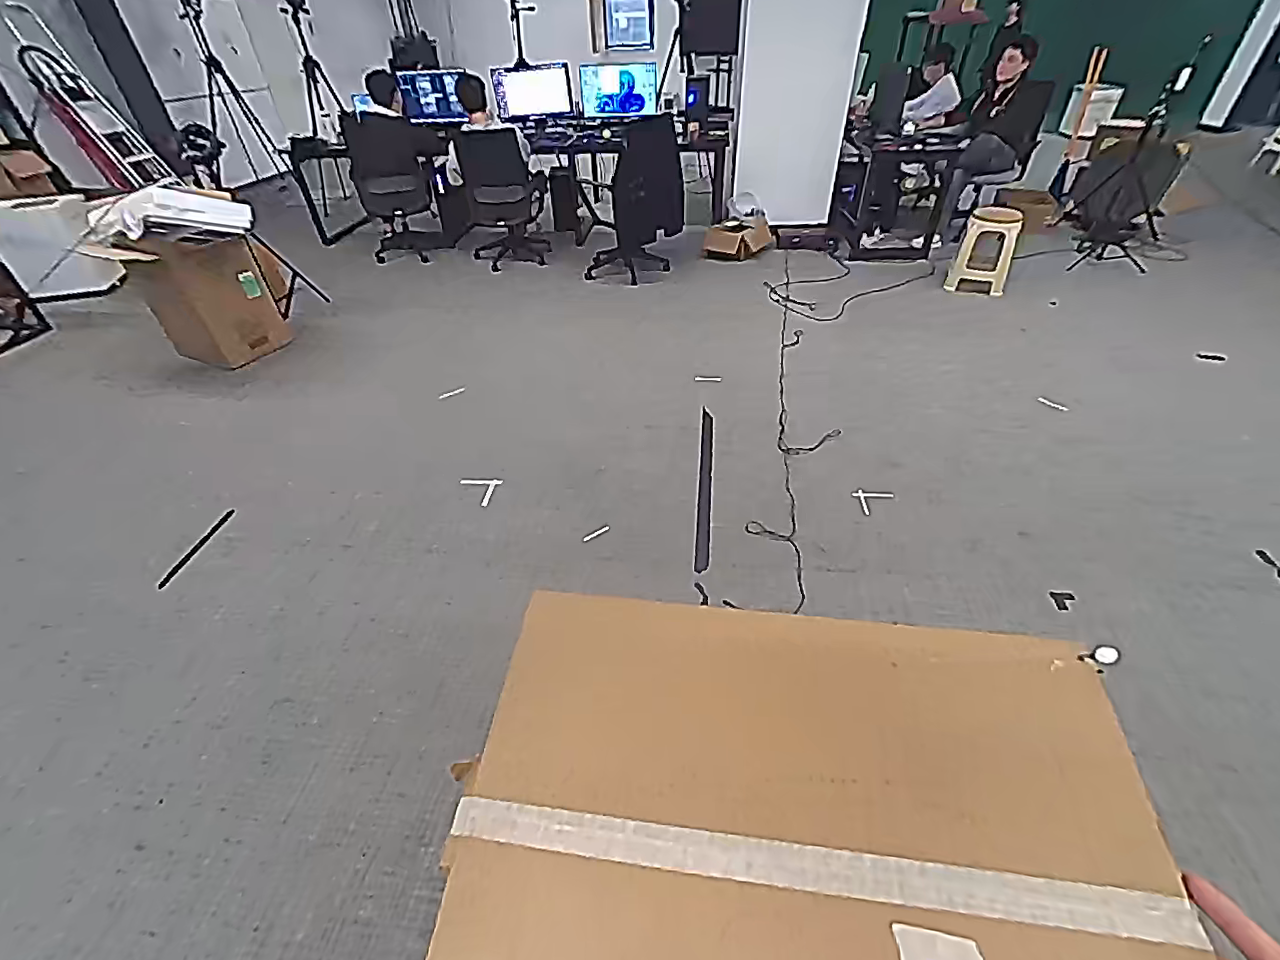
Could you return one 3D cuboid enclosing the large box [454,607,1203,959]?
[{"bbox_3d":[0.106,0.324,0.431,0.408,0.320,0.320,4,51,7],"label":"large box"}]
